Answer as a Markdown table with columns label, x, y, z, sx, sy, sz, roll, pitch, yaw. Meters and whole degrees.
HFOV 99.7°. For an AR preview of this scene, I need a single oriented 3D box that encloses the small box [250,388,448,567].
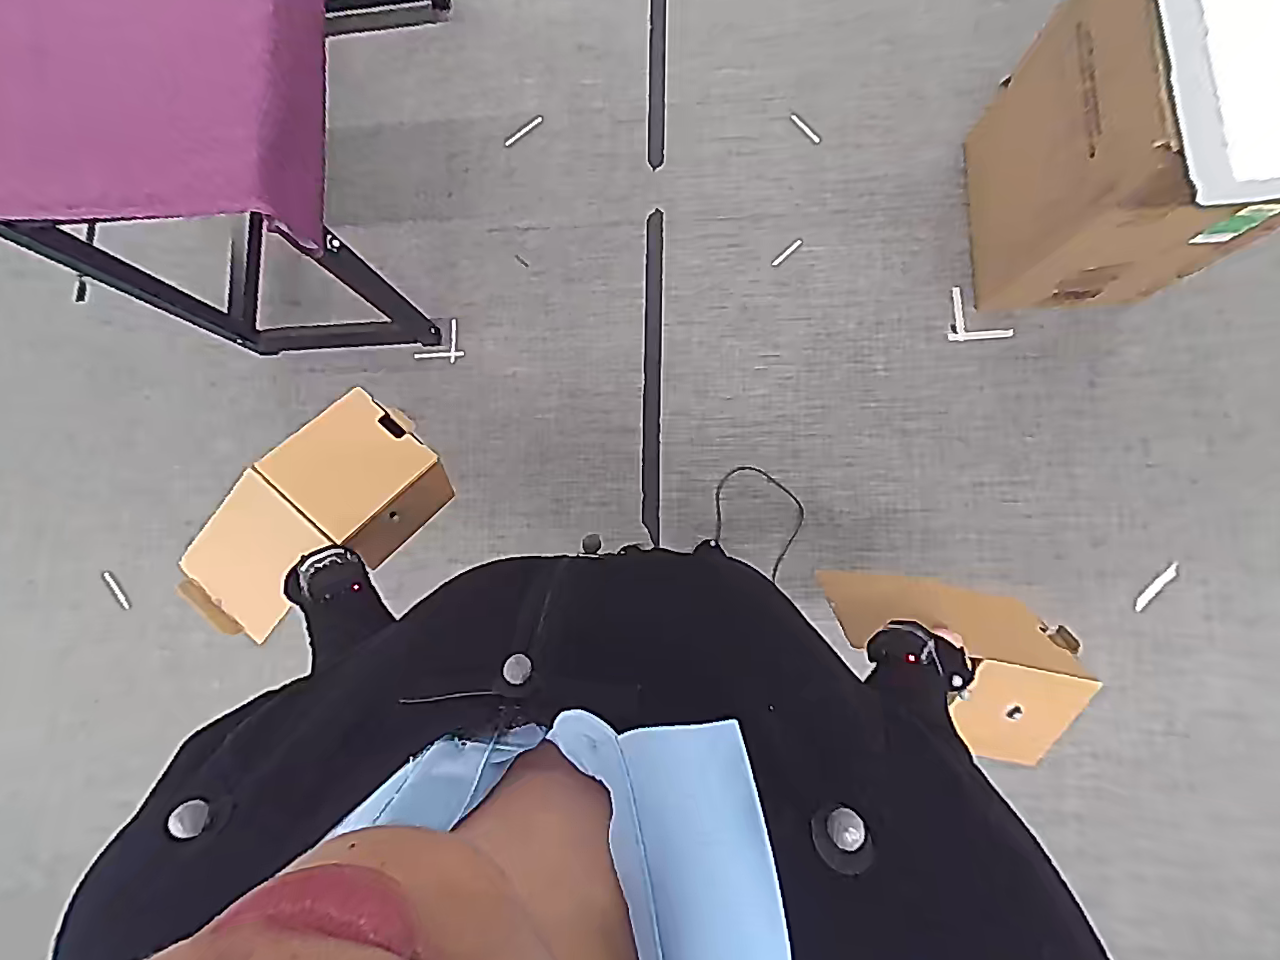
| label | x | y | z | sx | sy | sz | roll | pitch | yaw |
| --- | --- | --- | --- | --- | --- | --- | --- | --- | --- |
| small box | -0.410 | 0.006 | 0.801 | 0.168 | 0.176 | 0.179 | 41 | 67 | 5 |
